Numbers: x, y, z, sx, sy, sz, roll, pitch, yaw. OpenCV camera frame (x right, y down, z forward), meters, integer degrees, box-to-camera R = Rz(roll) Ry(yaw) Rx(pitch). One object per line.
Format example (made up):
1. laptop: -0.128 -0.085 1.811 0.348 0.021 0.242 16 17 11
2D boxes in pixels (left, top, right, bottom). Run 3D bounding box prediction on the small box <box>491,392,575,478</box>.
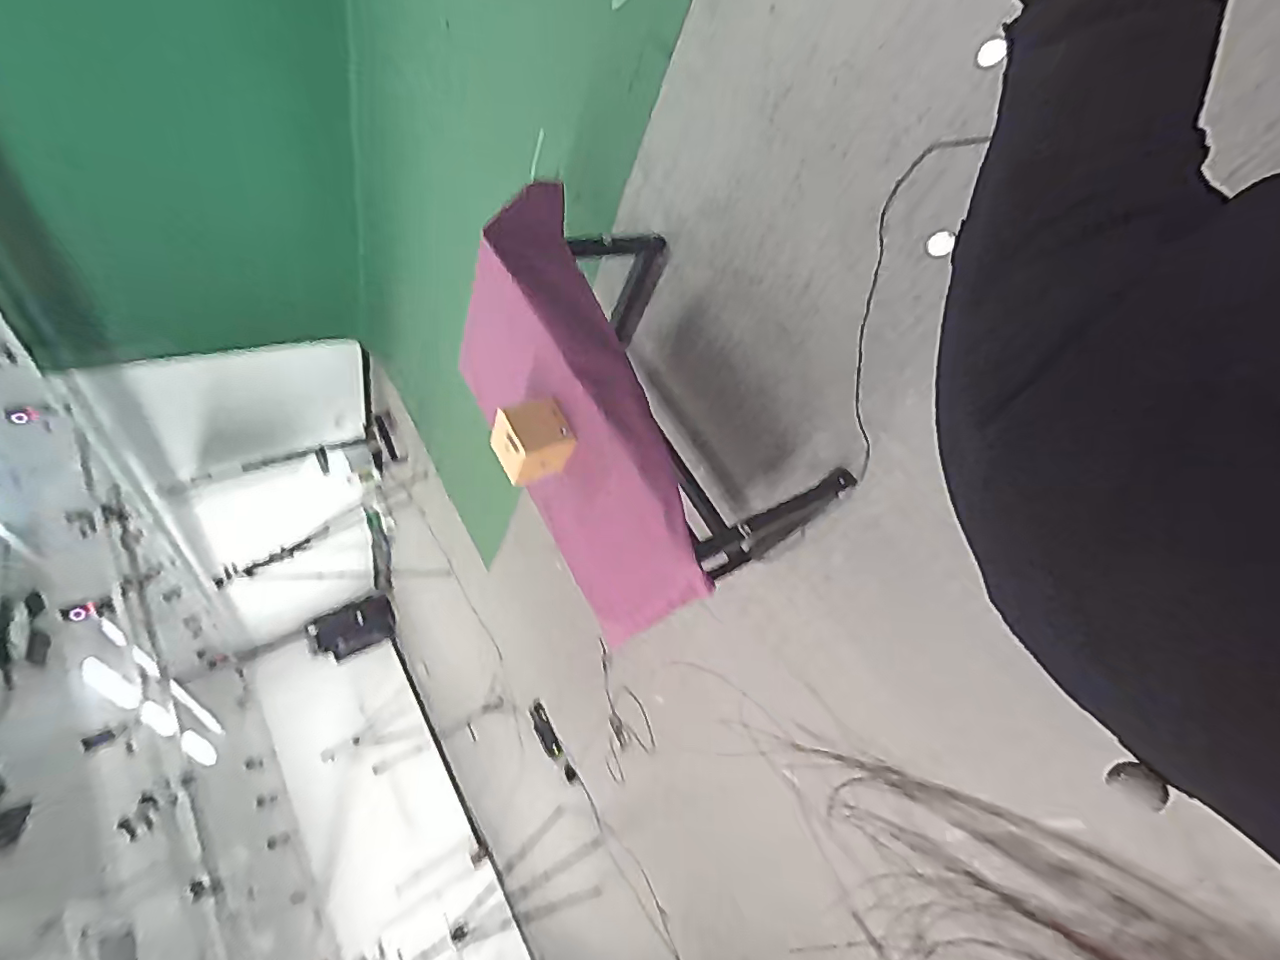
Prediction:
1. small box: -0.310 -0.137 1.583 0.168 0.176 0.179 58 144 17
